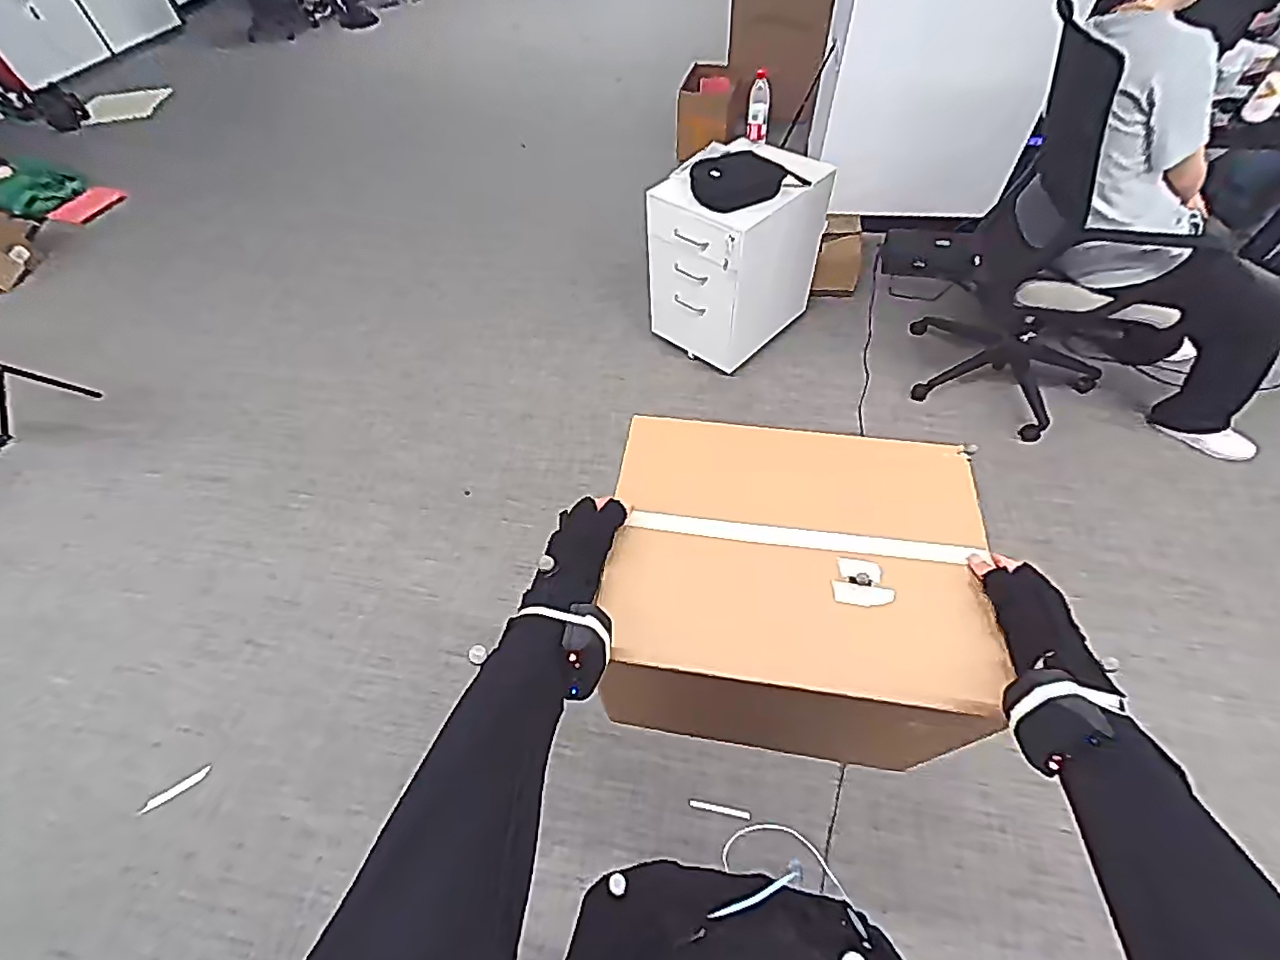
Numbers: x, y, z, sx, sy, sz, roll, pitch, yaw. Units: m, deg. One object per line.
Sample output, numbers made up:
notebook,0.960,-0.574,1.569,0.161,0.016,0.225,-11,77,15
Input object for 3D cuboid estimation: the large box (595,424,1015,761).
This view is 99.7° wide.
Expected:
large box,0.175,0.154,0.720,0.408,0.320,0.320,7,56,7
